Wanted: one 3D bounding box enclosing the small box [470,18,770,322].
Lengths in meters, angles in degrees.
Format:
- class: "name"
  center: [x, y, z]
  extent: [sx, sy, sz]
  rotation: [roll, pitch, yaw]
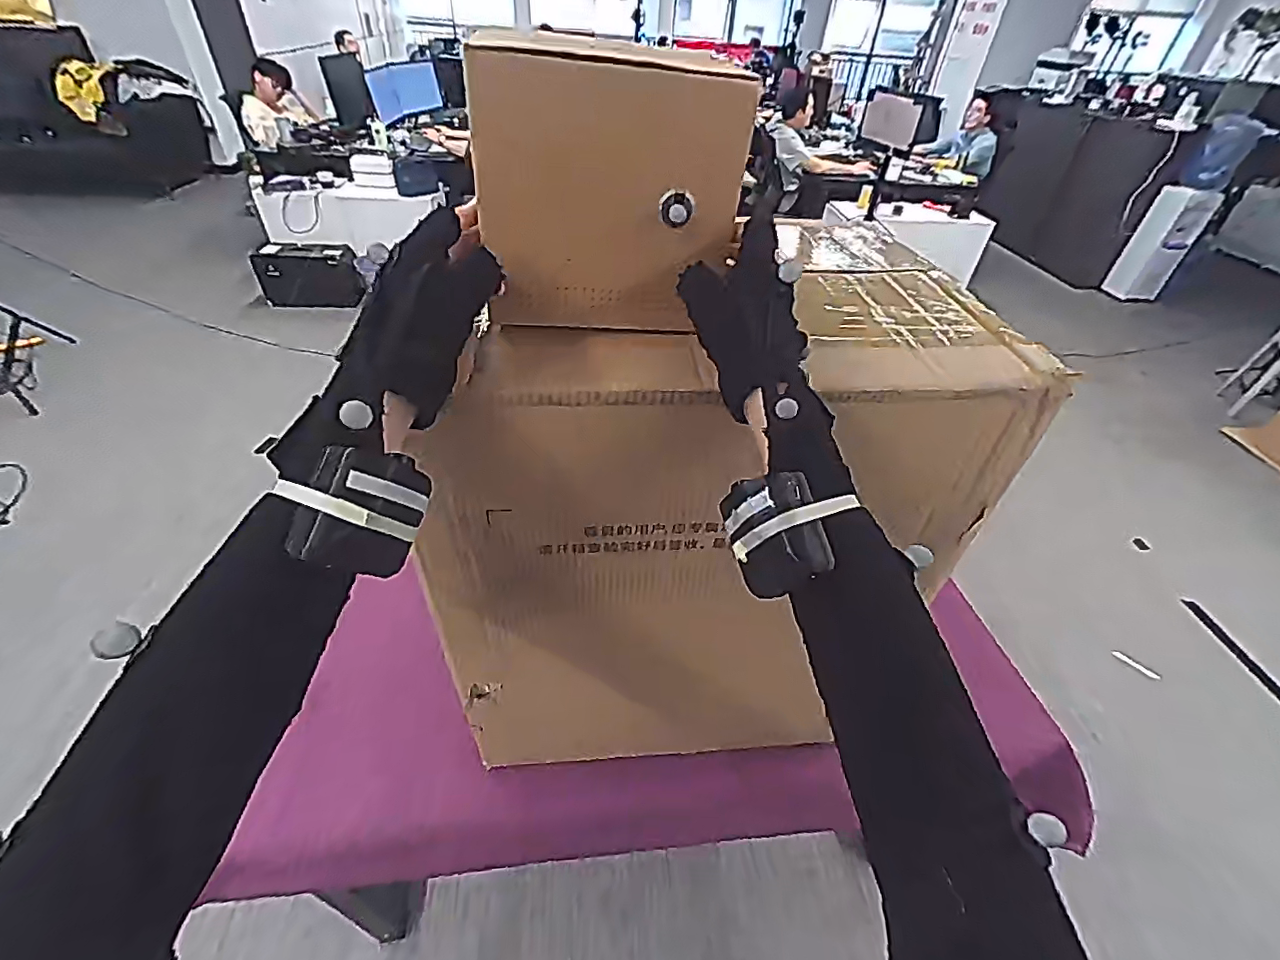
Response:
- class: "small box"
  center: [-0.025, -0.234, 0.417]
  extent: [0.179, 0.176, 0.168]
  rotation: [-1, 41, -9]
